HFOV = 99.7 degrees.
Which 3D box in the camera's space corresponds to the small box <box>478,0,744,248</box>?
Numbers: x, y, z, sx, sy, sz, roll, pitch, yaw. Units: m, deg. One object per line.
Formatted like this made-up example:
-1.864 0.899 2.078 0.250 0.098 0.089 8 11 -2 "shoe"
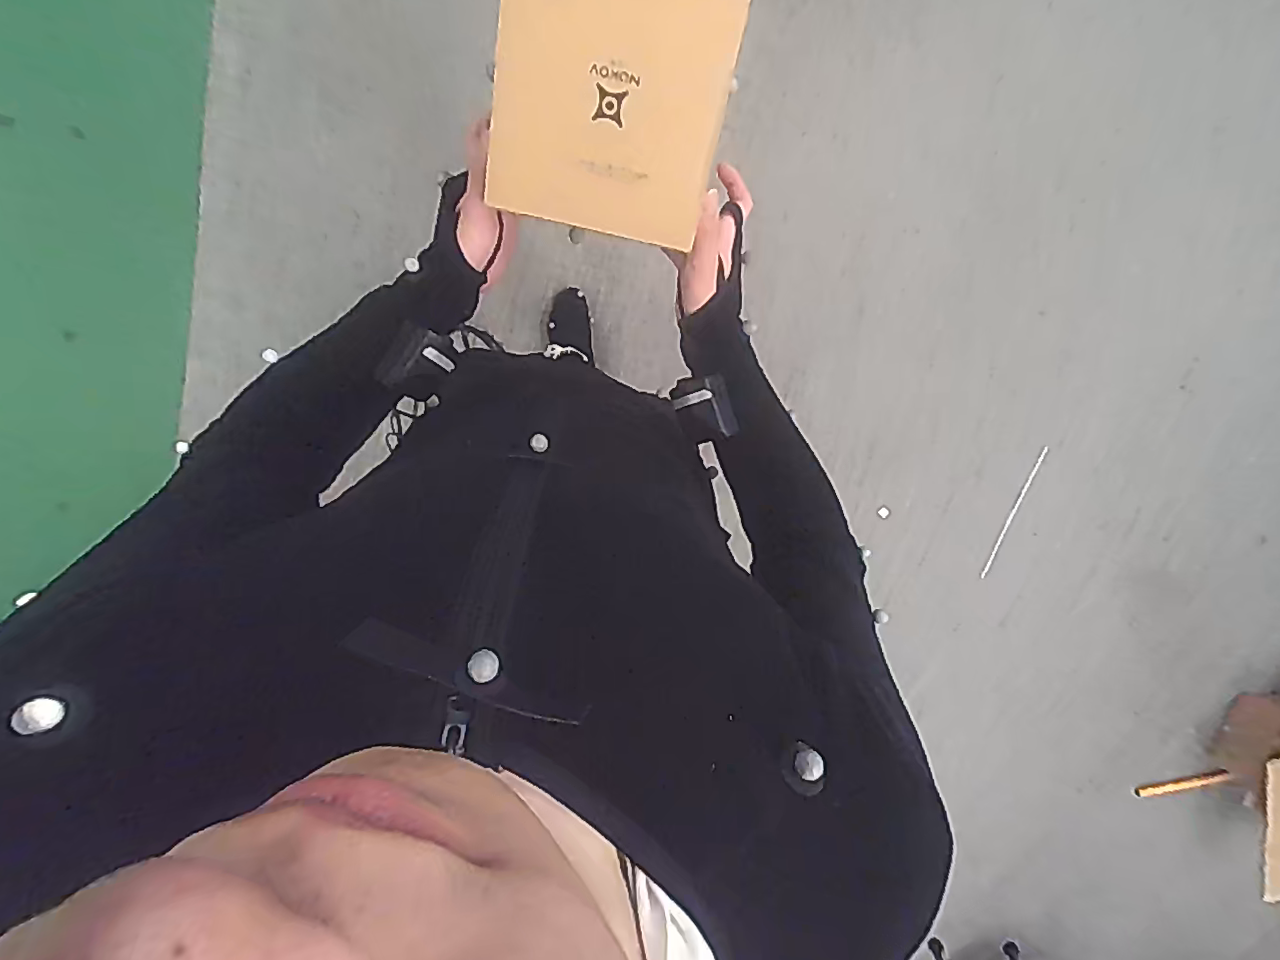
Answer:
-0.027 -0.308 0.454 0.168 0.176 0.179 10 115 -6 "small box"
